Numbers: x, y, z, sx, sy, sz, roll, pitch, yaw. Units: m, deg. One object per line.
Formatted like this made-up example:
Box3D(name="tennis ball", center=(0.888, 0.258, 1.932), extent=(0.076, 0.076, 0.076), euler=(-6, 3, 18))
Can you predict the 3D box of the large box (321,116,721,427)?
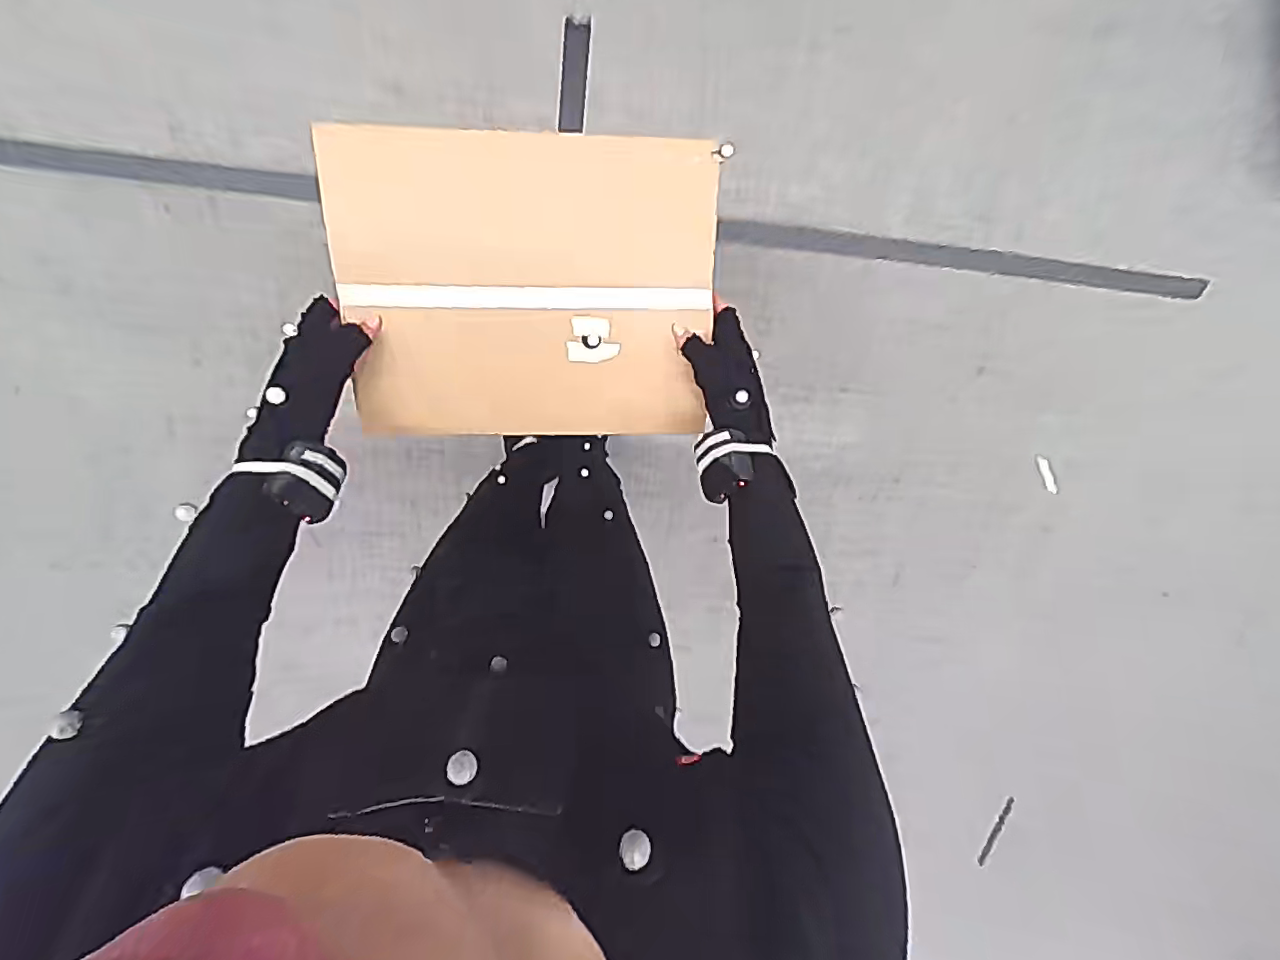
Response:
Box3D(name="large box", center=(-0.129, -0.261, 0.728), extent=(0.408, 0.320, 0.320), euler=(-1, 110, -5))
